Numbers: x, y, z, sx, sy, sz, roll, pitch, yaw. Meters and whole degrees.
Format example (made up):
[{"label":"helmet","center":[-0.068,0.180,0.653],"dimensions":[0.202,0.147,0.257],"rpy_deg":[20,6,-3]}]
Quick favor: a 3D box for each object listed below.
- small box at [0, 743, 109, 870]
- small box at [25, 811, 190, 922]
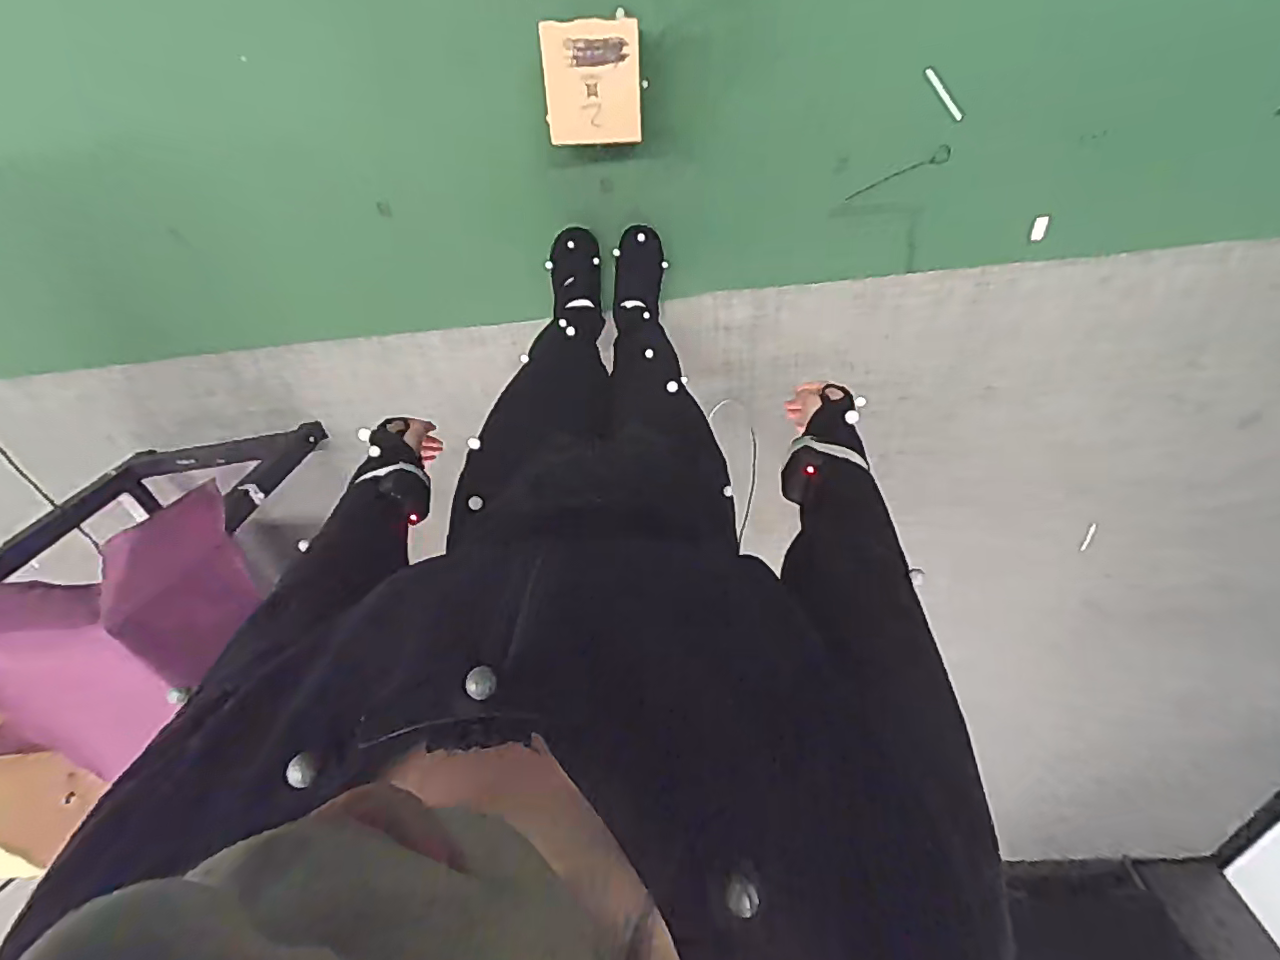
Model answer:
[{"label":"small box","center":[-1.272,0.665,1.104],"dimensions":[0.179,0.176,0.168],"rpy_deg":[-8,124,5]},{"label":"small box","center":[-1.224,0.895,1.260],"dimensions":[0.168,0.176,0.179],"rpy_deg":[-6,125,5]}]
